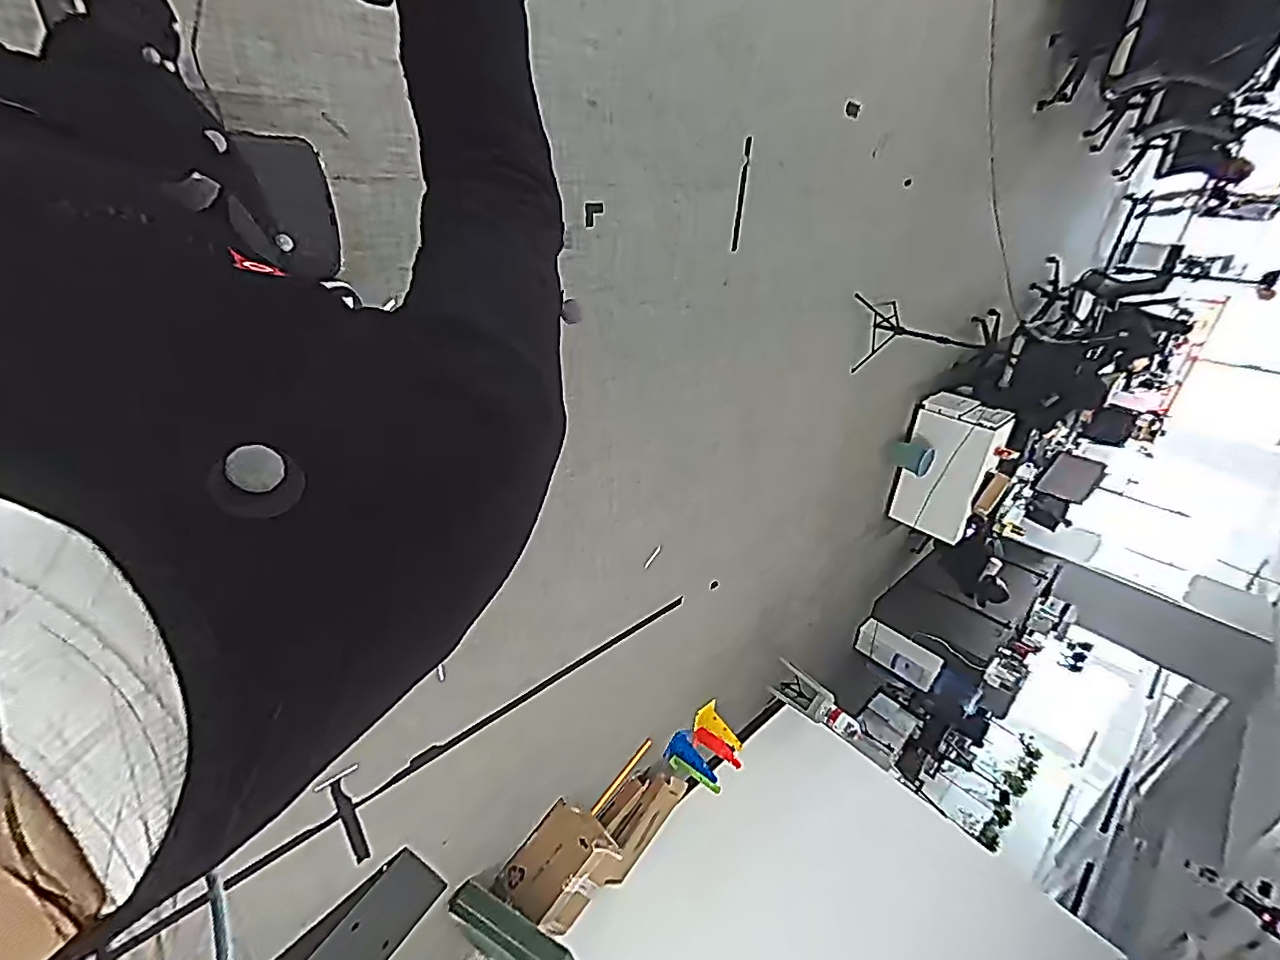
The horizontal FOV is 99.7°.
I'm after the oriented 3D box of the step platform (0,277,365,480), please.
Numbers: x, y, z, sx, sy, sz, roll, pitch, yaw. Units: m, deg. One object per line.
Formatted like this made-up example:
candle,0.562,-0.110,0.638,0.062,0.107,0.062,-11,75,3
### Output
step platform,-0.953,-0.235,1.119,0.684,0.204,0.286,-21,126,-35
